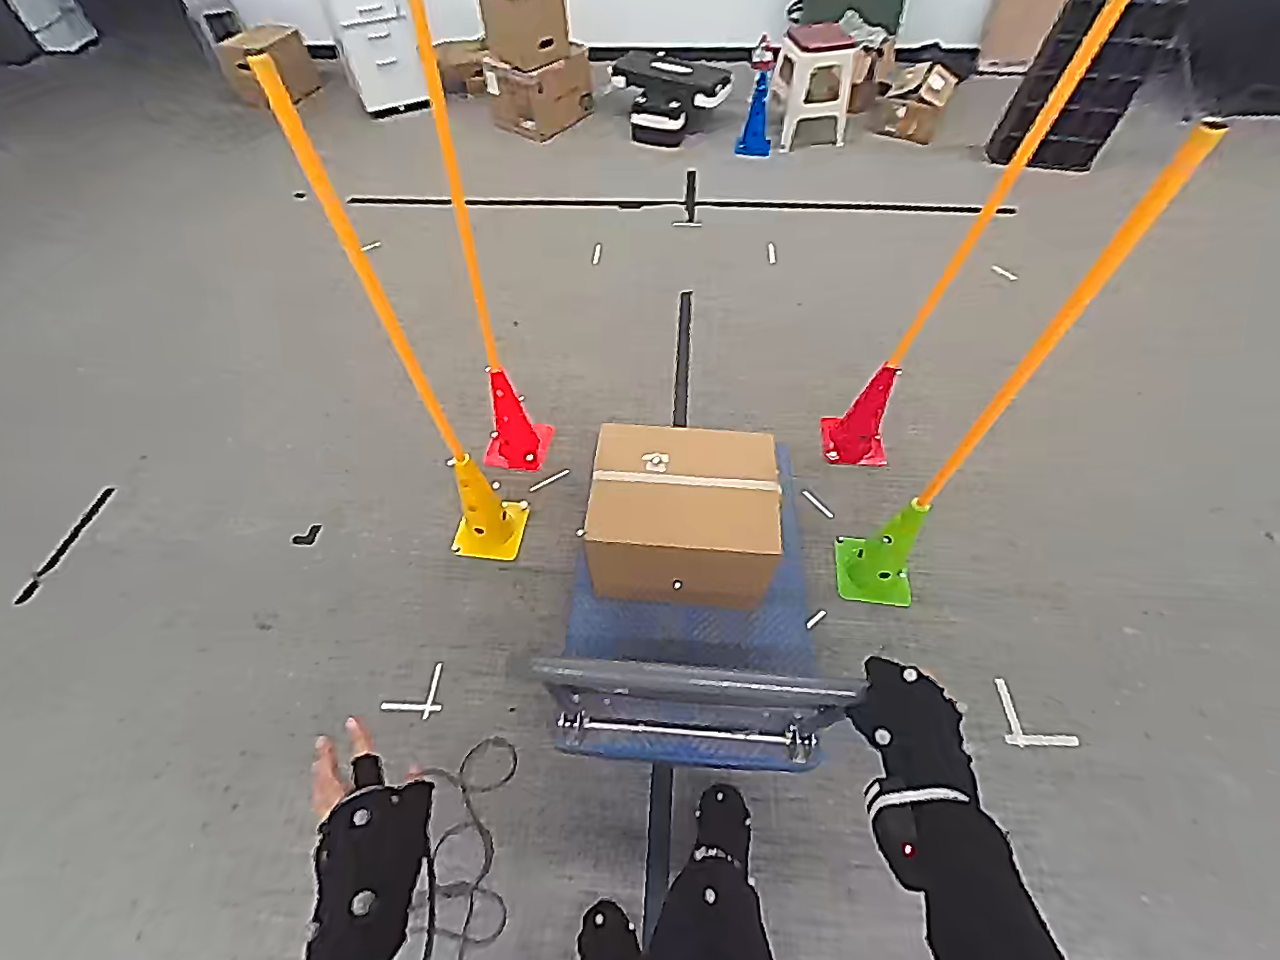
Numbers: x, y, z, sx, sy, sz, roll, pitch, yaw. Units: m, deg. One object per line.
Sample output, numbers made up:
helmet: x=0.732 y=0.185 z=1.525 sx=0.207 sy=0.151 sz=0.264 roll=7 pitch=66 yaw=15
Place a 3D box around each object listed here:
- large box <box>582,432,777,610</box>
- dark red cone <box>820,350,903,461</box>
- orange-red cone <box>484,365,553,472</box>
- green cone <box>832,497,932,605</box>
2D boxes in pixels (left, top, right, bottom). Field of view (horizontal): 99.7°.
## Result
large box: x=0.096 y=0.106 z=1.301 sx=0.408 sy=0.320 sz=0.320 roll=4 pitch=55 yaw=4
dark red cone: x=0.721 y=-0.242 z=1.692 sx=0.201 sy=0.394 sz=0.202 roll=4 pitch=55 yaw=1
orange-red cone: x=-0.413 y=-0.218 z=1.711 sx=0.198 sy=0.360 sz=0.199 roll=10 pitch=54 yaw=6
green cone: x=0.667 y=0.163 z=1.430 sx=0.202 sy=0.368 sz=0.200 roll=7 pitch=55 yaw=4
